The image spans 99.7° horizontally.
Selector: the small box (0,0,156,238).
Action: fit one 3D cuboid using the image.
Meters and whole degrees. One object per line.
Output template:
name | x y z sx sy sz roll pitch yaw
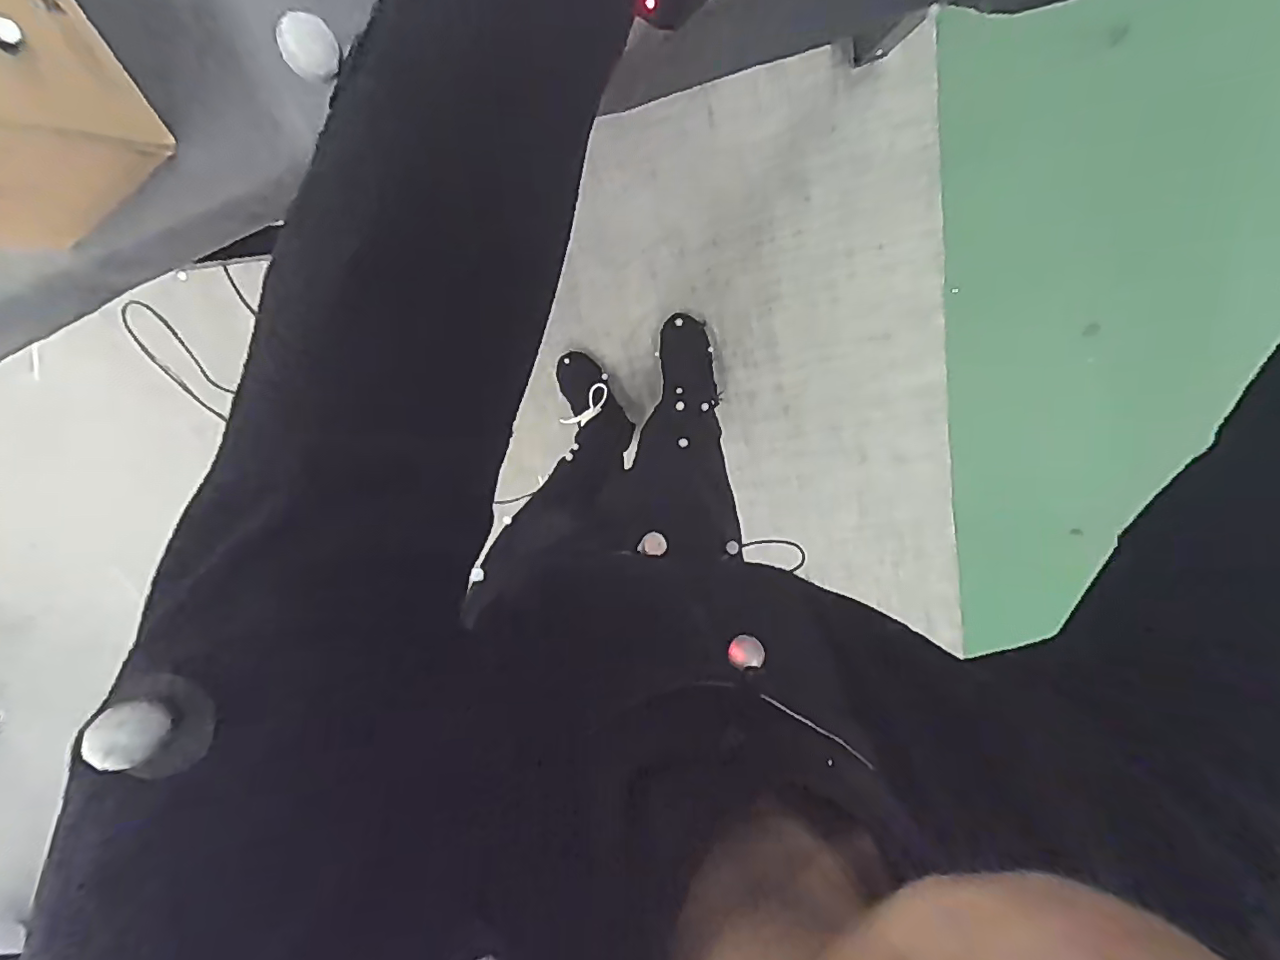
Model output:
small box | -0.515 -0.292 0.388 0.179 0.176 0.168 -23 111 18
